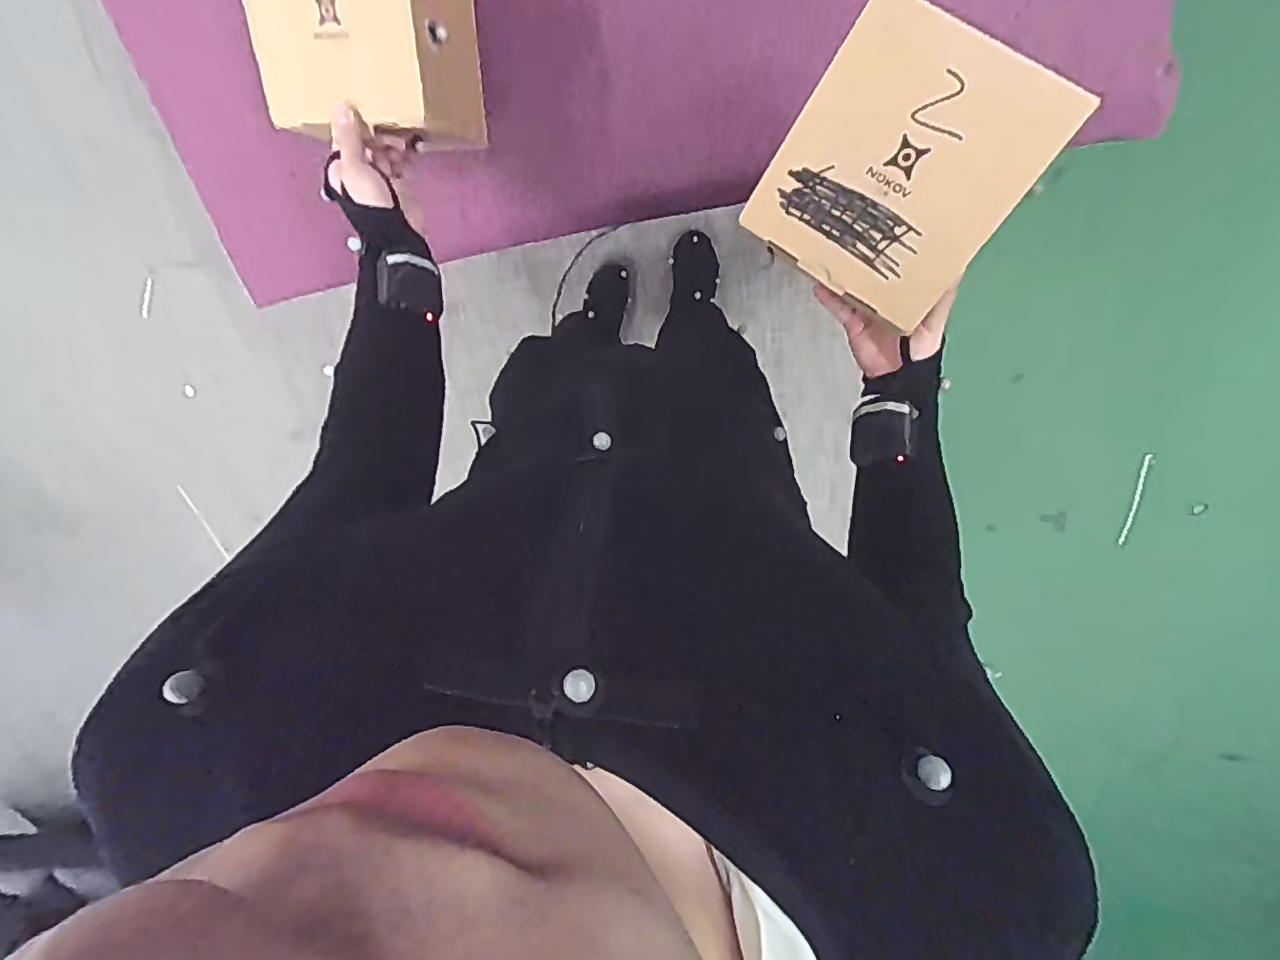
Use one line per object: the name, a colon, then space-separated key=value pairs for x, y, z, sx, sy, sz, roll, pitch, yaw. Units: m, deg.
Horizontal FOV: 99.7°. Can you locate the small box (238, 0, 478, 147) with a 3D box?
small box: x=-0.284 y=-0.465 z=0.574 sx=0.168 sy=0.176 sz=0.179 roll=4 pitch=114 yaw=5

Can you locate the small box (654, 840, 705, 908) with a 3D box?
small box: x=0.148 y=1.441 z=1.953 sx=0.168 sy=0.176 sz=0.179 roll=-4 pitch=117 yaw=9
